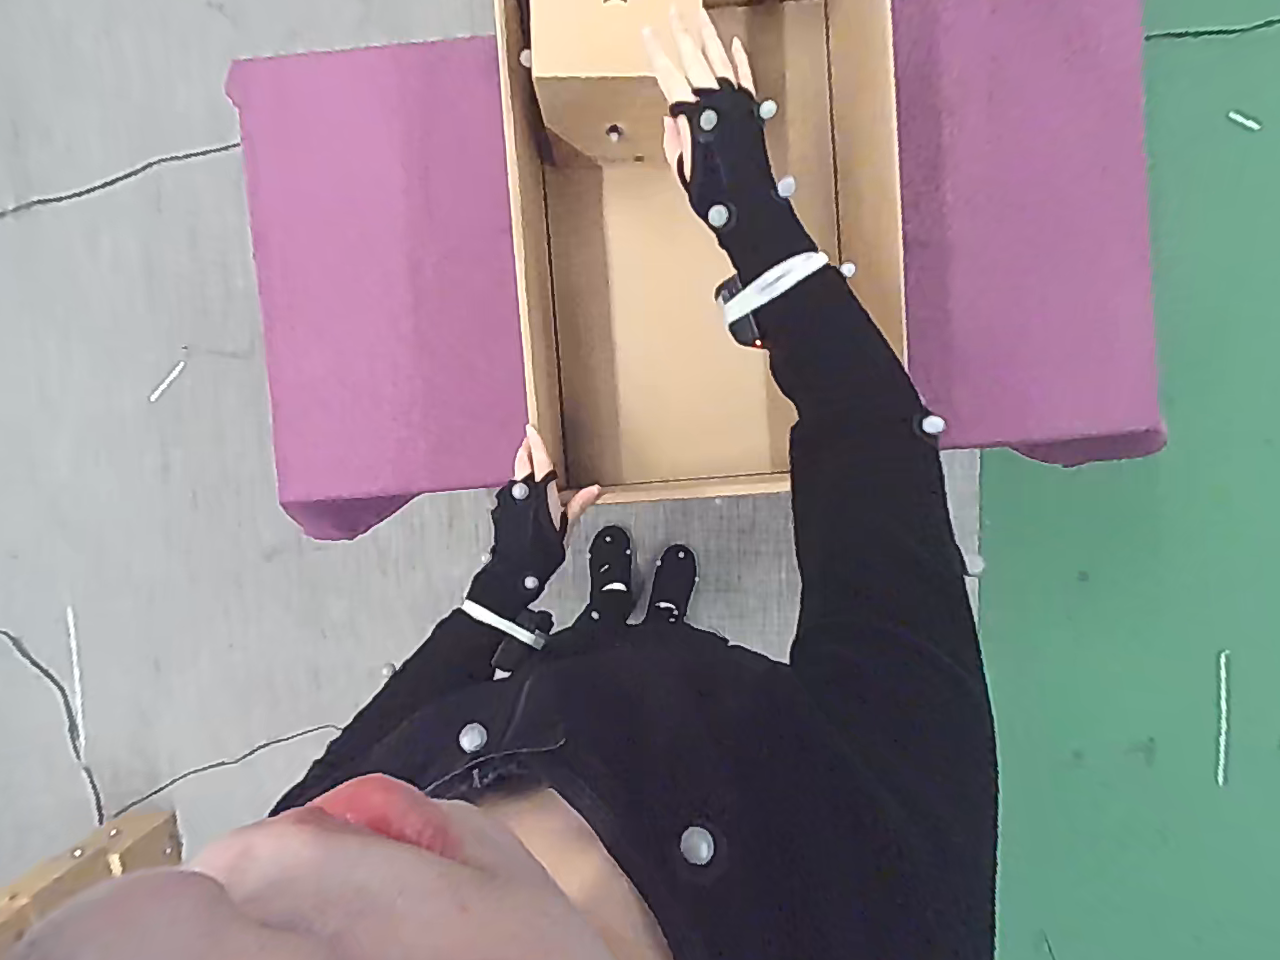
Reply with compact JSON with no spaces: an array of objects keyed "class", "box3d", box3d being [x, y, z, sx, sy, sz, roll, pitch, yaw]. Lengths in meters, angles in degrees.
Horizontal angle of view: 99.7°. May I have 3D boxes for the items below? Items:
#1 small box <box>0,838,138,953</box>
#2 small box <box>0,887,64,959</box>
[{"class":"small box","box3d":[-1.408,1.020,1.331,0.168,0.176,0.179,-15,93,3]},{"class":"small box","box3d":[-1.429,1.031,1.169,0.179,0.176,0.168,-11,92,2]}]
